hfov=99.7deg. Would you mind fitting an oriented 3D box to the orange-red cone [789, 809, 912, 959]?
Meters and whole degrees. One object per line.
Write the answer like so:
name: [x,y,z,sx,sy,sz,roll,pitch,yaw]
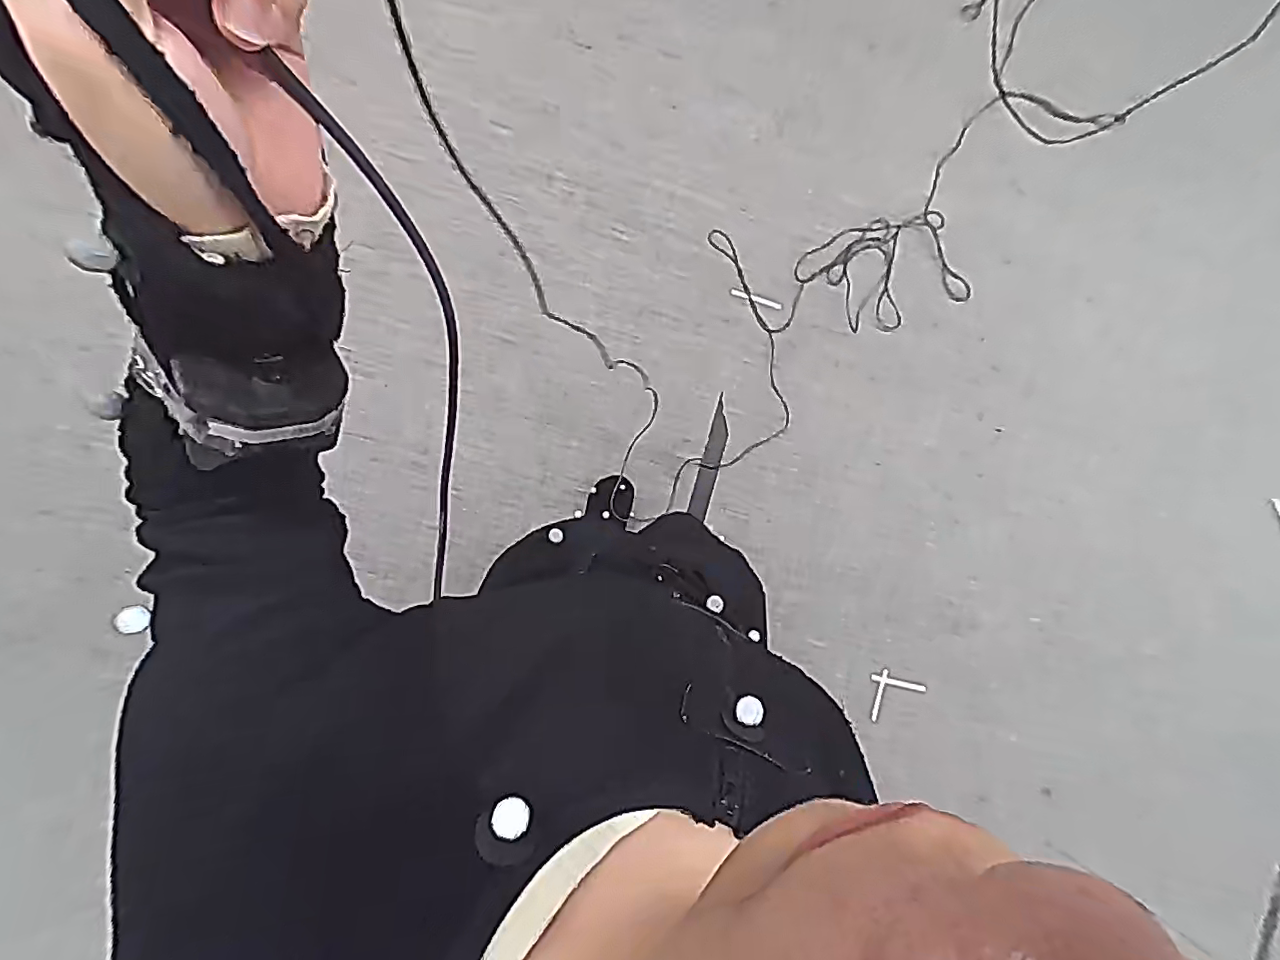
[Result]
orange-red cone: [0.507,0.957,1.201,0.199,0.360,0.198,-29,90,-3]
